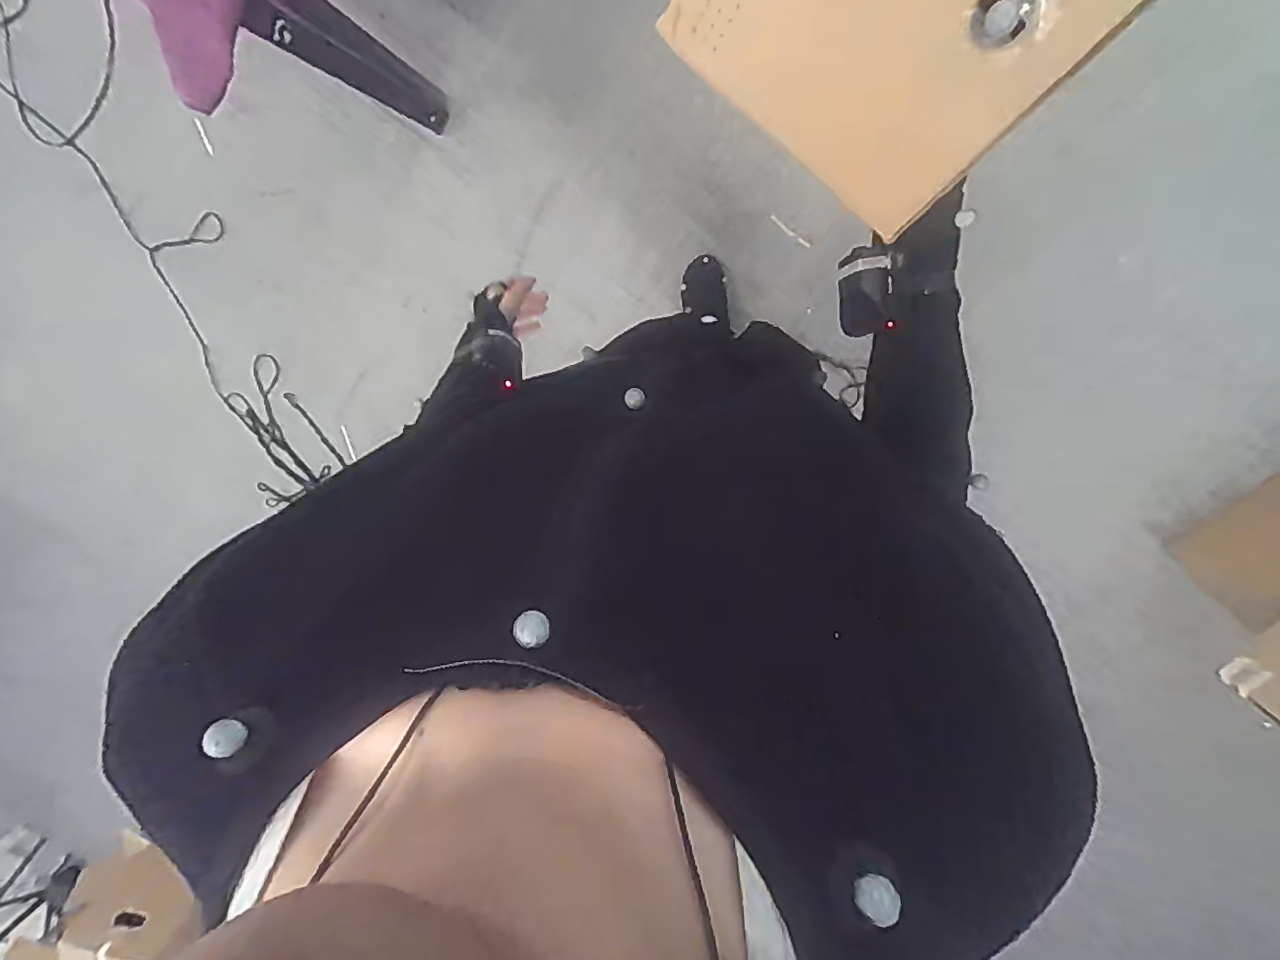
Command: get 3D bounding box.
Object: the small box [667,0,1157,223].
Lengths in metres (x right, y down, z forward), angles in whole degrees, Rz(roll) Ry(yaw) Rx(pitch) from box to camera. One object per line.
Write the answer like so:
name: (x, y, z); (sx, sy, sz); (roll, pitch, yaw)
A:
small box: (0.140, -0.272, 0.250); (0.176, 0.168, 0.179); (36, 144, -11)

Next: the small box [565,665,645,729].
small box: (-0.105, 0.719, 1.711); (0.179, 0.176, 0.168); (36, 111, -5)
